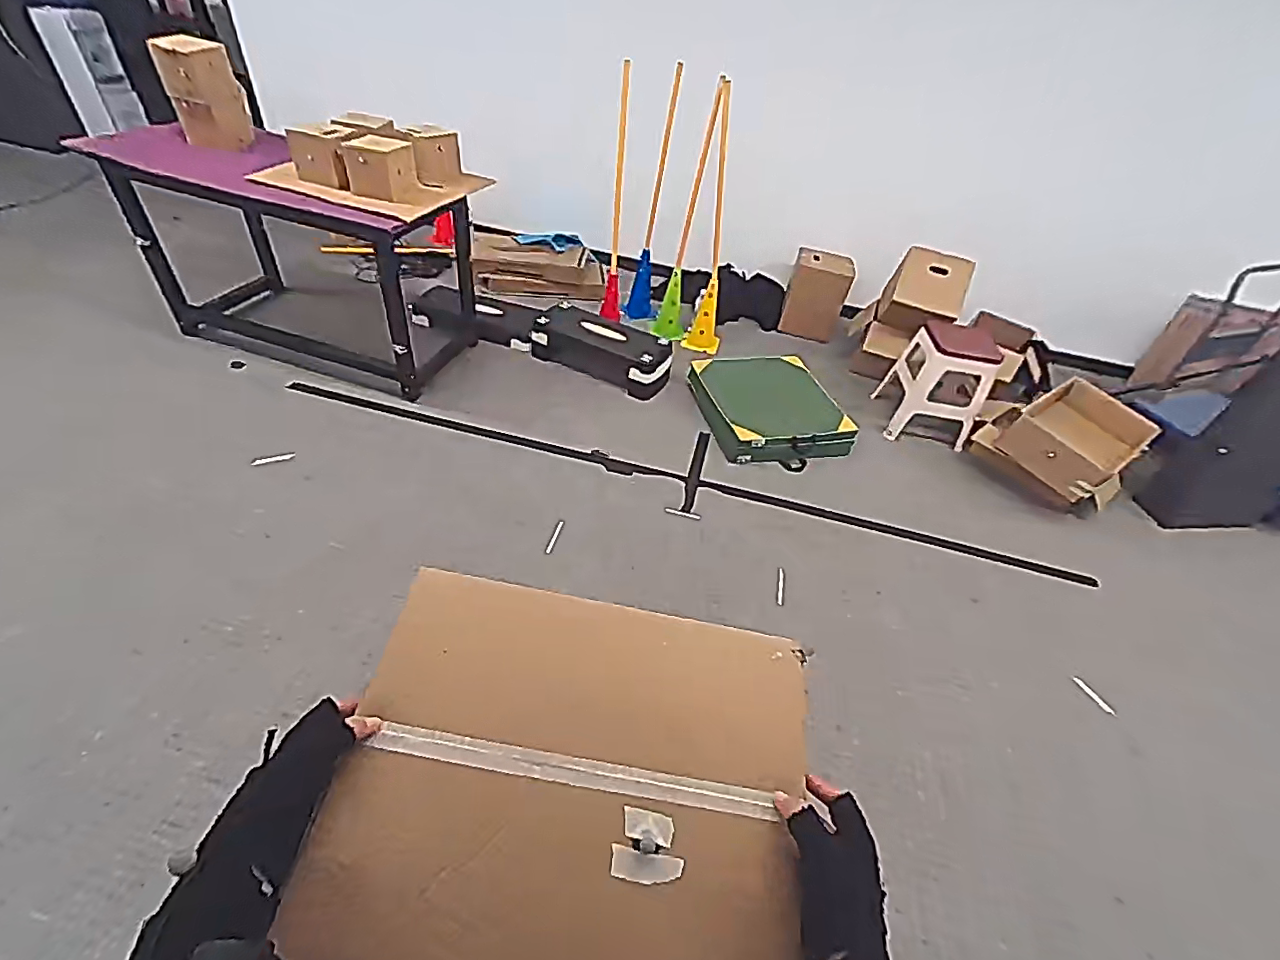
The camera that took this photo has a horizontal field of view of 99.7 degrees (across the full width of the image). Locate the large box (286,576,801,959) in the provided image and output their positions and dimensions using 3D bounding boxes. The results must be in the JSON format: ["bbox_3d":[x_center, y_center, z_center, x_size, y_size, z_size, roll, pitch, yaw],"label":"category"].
[{"bbox_3d":[-0.073,0.342,0.613,0.408,0.320,0.320,11,55,-2],"label":"large box"}]
